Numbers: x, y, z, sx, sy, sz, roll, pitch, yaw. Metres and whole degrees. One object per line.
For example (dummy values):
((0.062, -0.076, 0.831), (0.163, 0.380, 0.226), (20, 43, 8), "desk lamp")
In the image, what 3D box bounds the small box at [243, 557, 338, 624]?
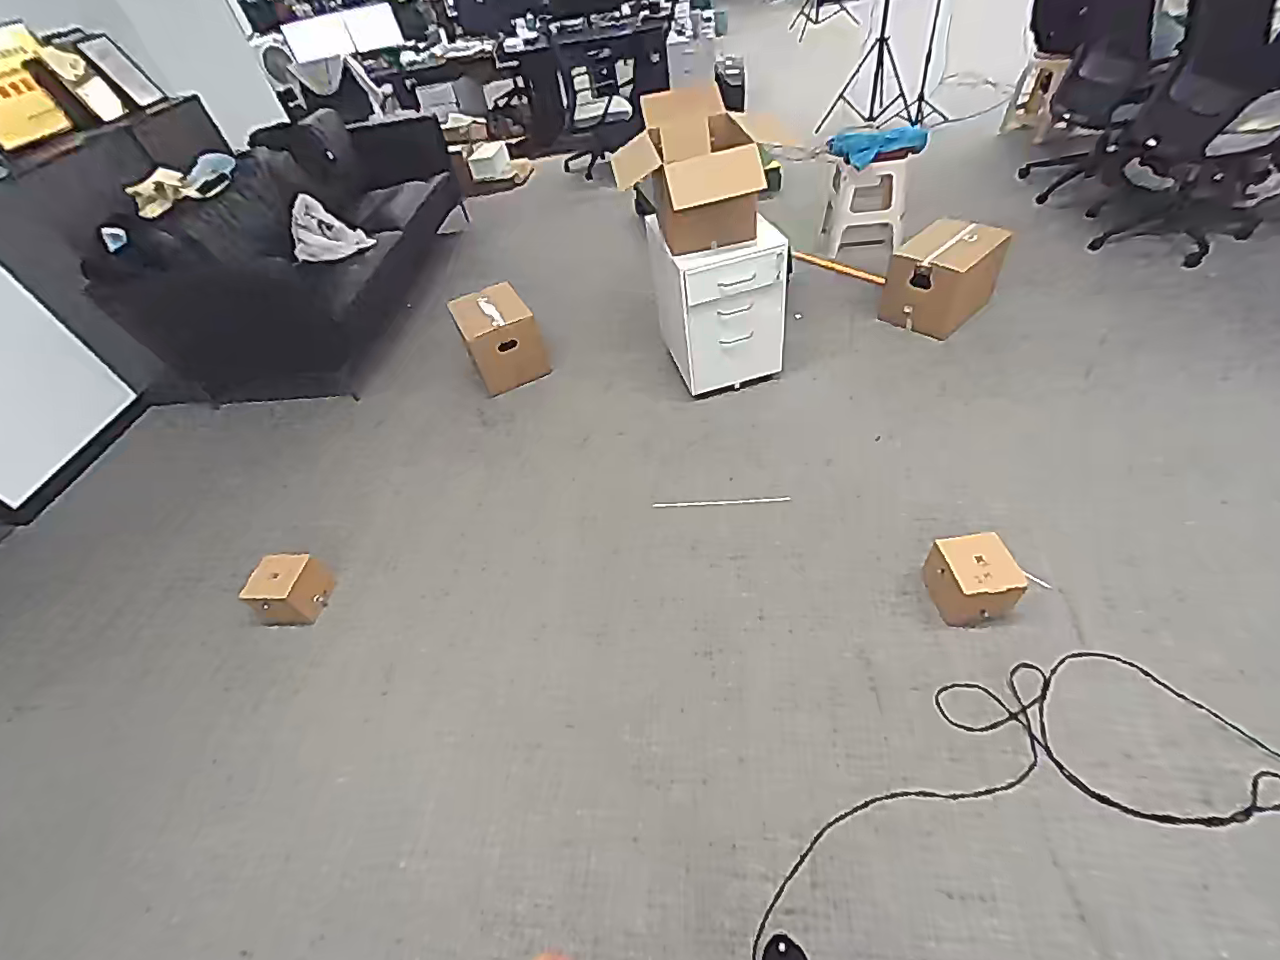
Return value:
((-1.171, 0.375, 1.825), (0.179, 0.176, 0.168), (-2, 48, 9), "small box")

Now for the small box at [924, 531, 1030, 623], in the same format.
((0.906, 0.267, 1.476), (0.168, 0.176, 0.179), (-9, 47, 3), "small box")
